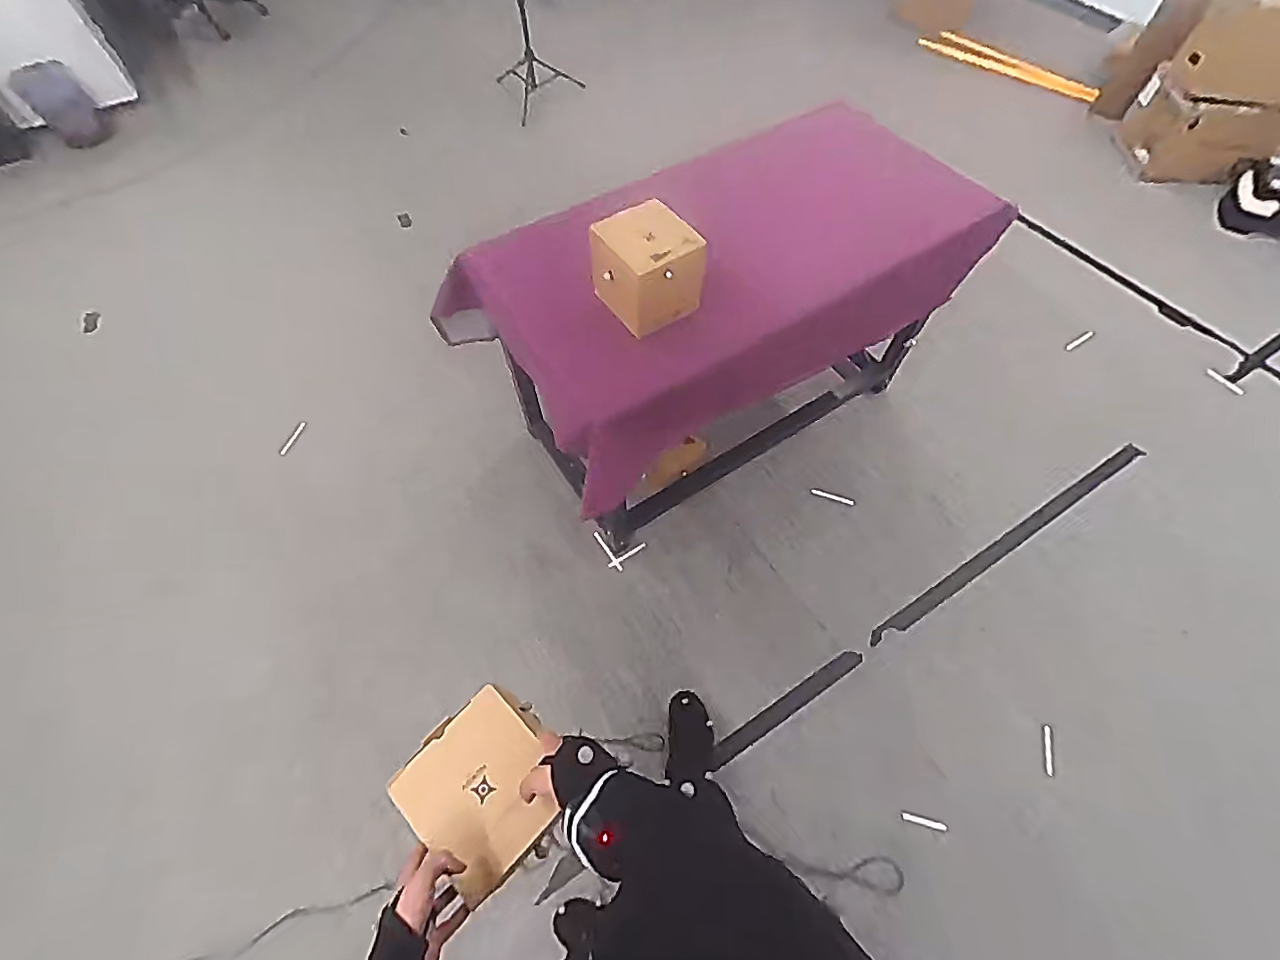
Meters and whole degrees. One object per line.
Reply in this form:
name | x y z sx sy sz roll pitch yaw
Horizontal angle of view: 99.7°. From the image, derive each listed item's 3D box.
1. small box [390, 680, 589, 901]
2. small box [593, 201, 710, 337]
small box | -0.187 0.400 0.717 0.168 0.176 0.179 -41 70 -19
small box | 0.020 -0.433 1.119 0.168 0.176 0.179 -31 65 -16
